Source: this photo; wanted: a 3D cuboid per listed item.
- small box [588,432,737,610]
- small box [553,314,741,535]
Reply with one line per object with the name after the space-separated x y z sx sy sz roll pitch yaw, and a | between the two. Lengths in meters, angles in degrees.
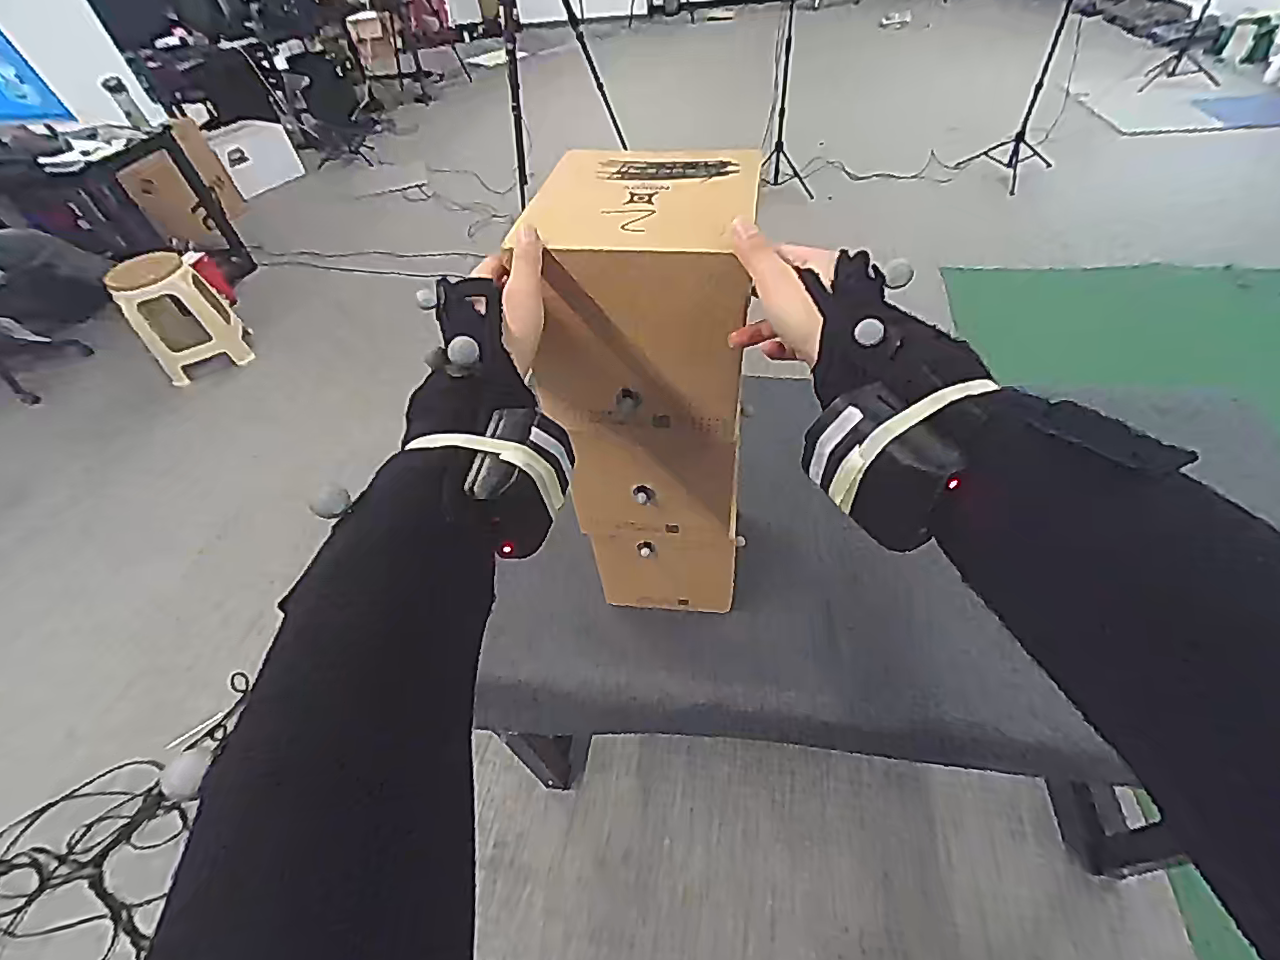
0.037 0.047 0.712 0.168 0.176 0.179 3 48 8 | small box
0.019 -0.058 0.585 0.168 0.176 0.179 4 49 8 | small box
